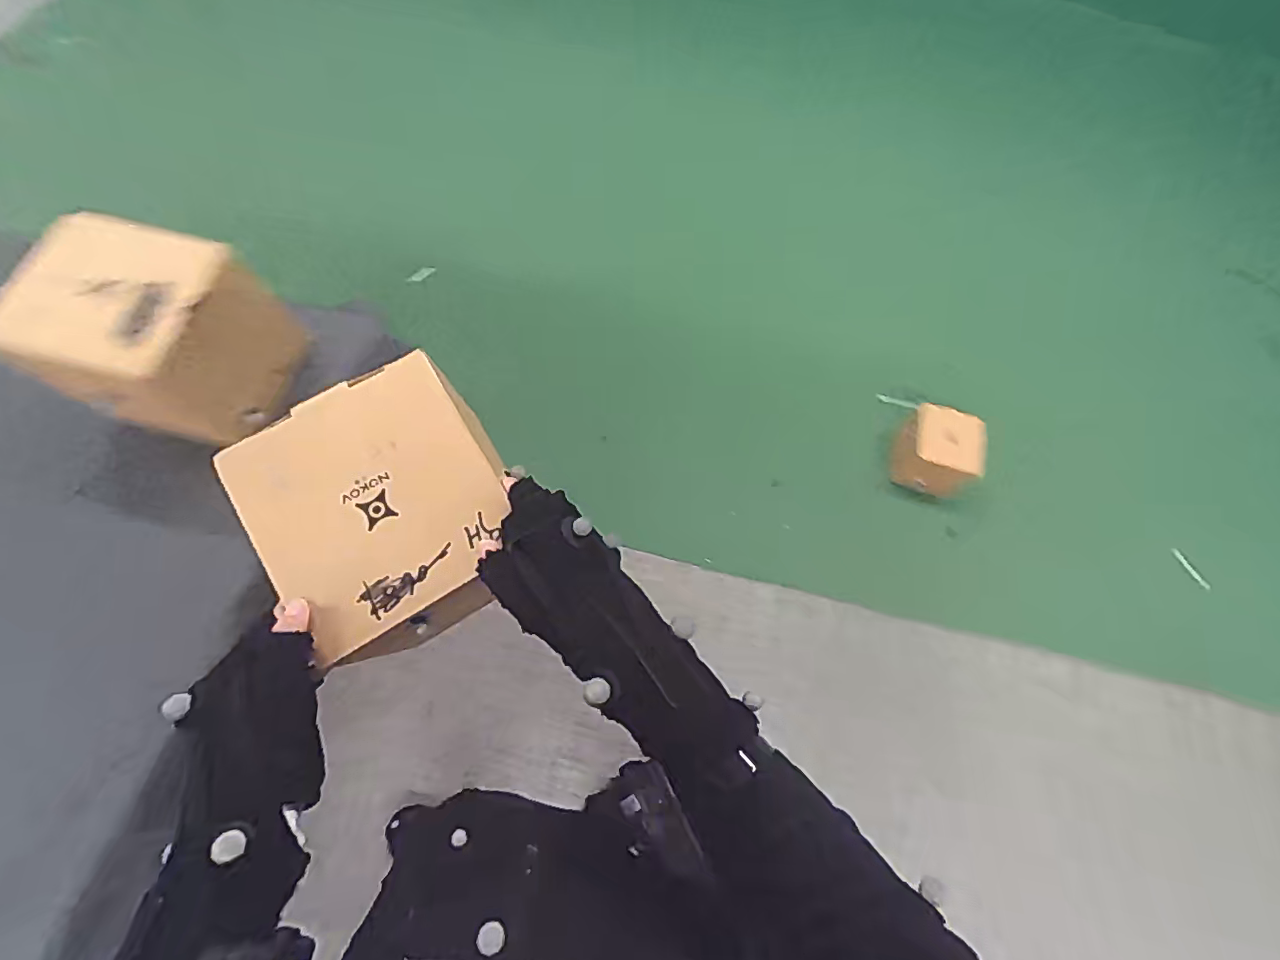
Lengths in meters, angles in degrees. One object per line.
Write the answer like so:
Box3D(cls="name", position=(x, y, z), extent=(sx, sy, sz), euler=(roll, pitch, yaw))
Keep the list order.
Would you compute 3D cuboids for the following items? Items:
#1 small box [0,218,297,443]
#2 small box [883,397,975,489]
Box3D(cls="small box", position=(-0.541, -0.157, 0.617), extent=(0.179, 0.176, 0.168), euler=(13, 69, 2))
Box3D(cls="small box", position=(0.803, -0.098, 1.513), extent=(0.168, 0.176, 0.179), euler=(15, 68, 2))
